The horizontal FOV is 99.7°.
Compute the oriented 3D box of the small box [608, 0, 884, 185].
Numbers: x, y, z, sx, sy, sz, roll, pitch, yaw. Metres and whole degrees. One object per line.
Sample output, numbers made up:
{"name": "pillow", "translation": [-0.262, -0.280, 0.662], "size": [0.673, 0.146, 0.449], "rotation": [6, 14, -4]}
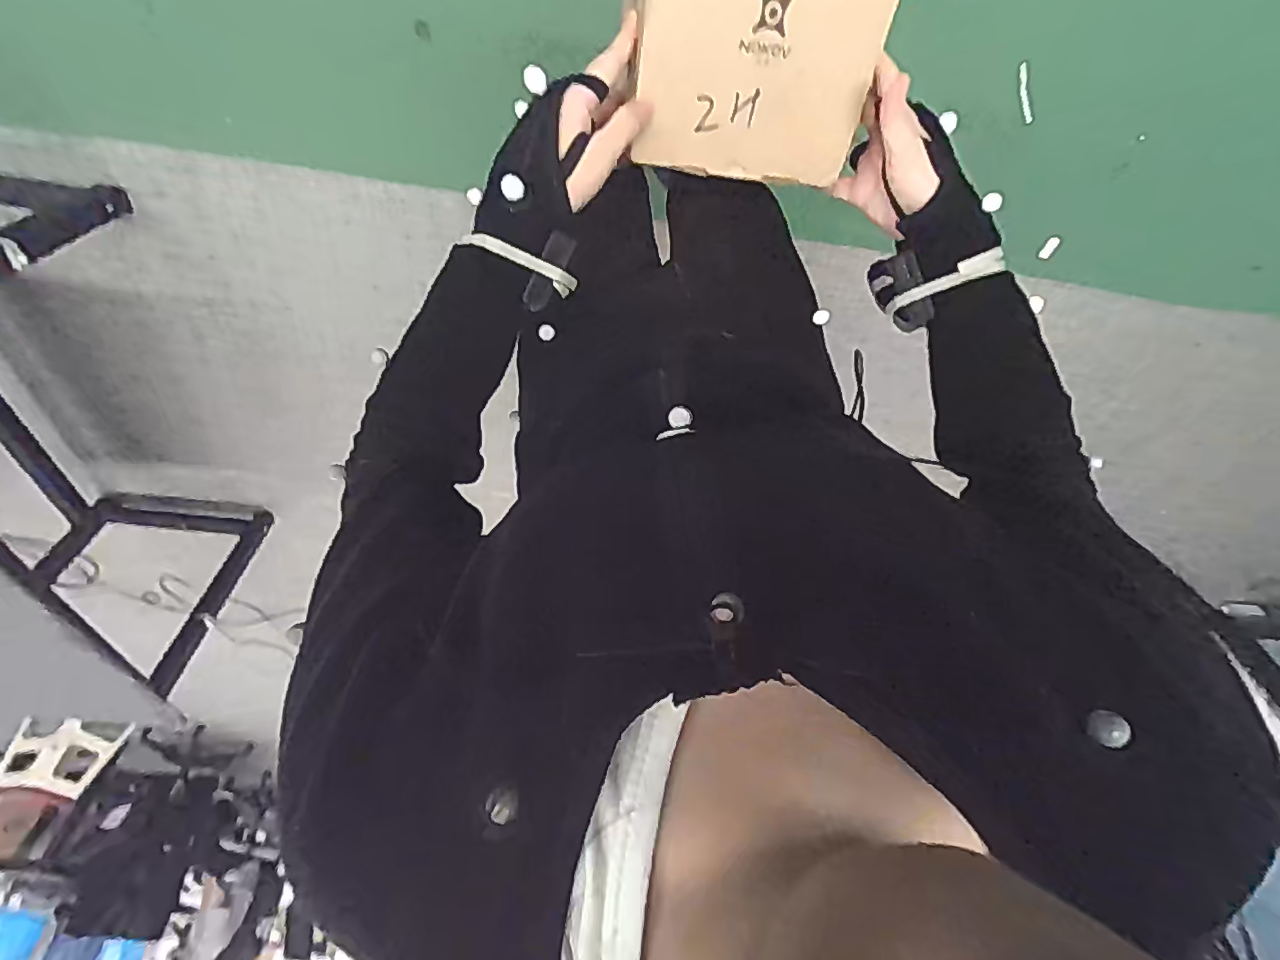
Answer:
{"name": "small box", "translation": [0.068, -0.355, 0.419], "size": [0.168, 0.176, 0.179], "rotation": [2, 131, -10]}
